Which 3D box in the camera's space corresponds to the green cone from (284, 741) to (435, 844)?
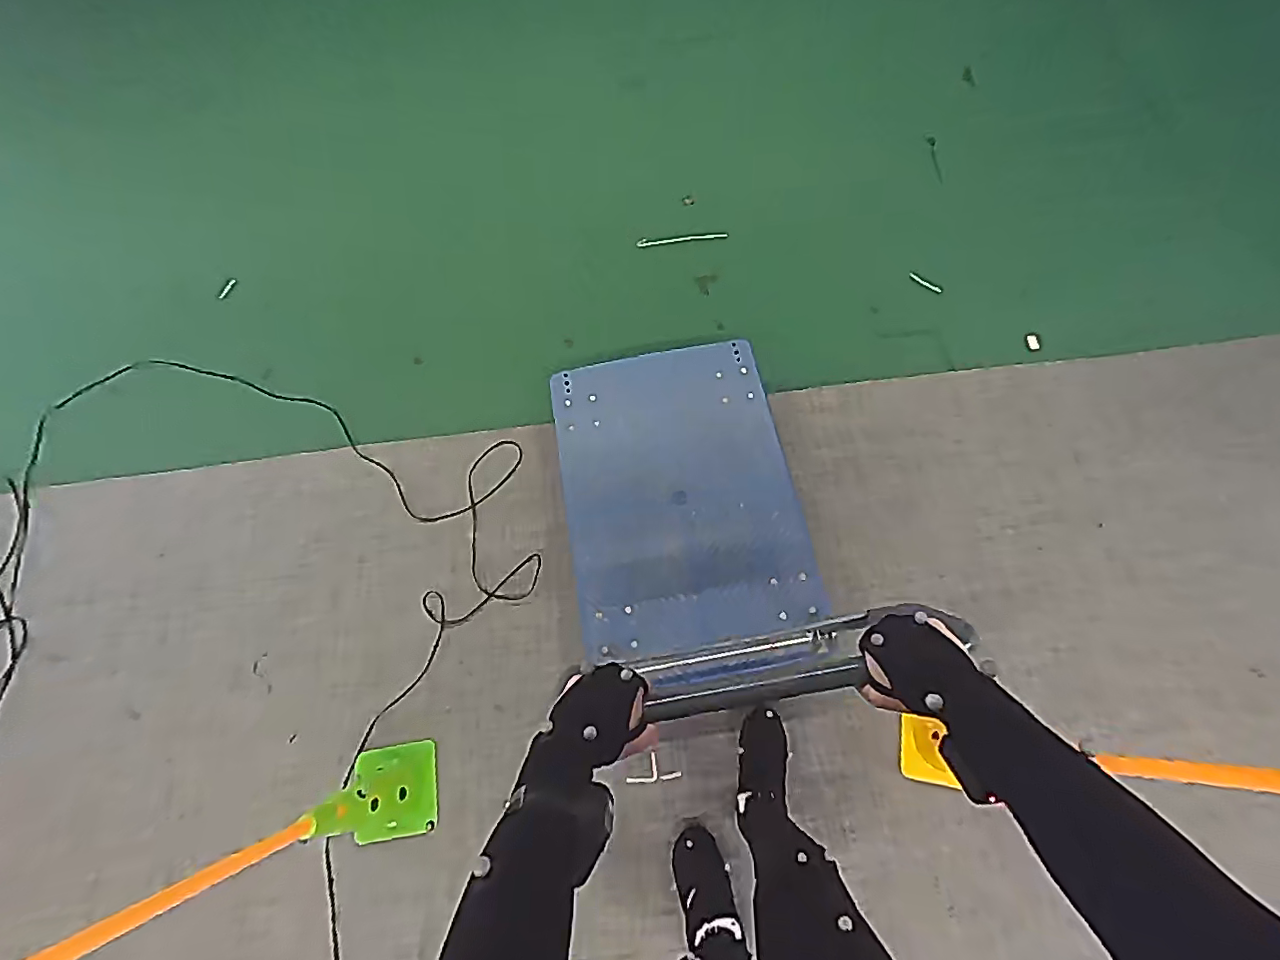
[{"bbox_3d":[-0.609,0.691,1.146,0.202,0.368,0.200,-11,69,1],"label":"green cone"}]
